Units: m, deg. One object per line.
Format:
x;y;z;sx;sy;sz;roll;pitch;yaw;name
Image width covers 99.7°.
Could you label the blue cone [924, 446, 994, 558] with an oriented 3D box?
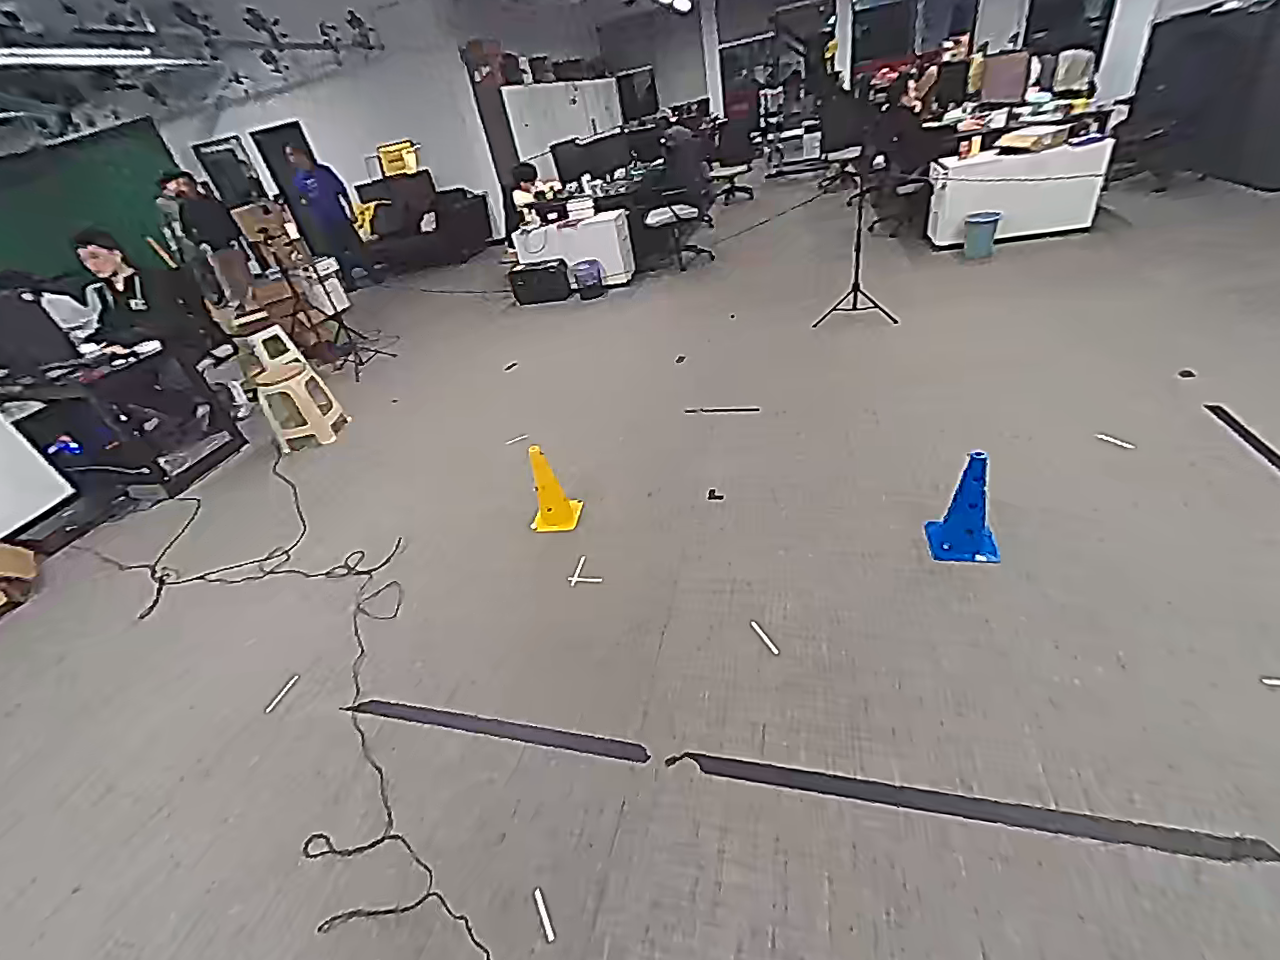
1.058;0.064;1.755;0.193;0.380;0.192;0;35;18;blue cone
